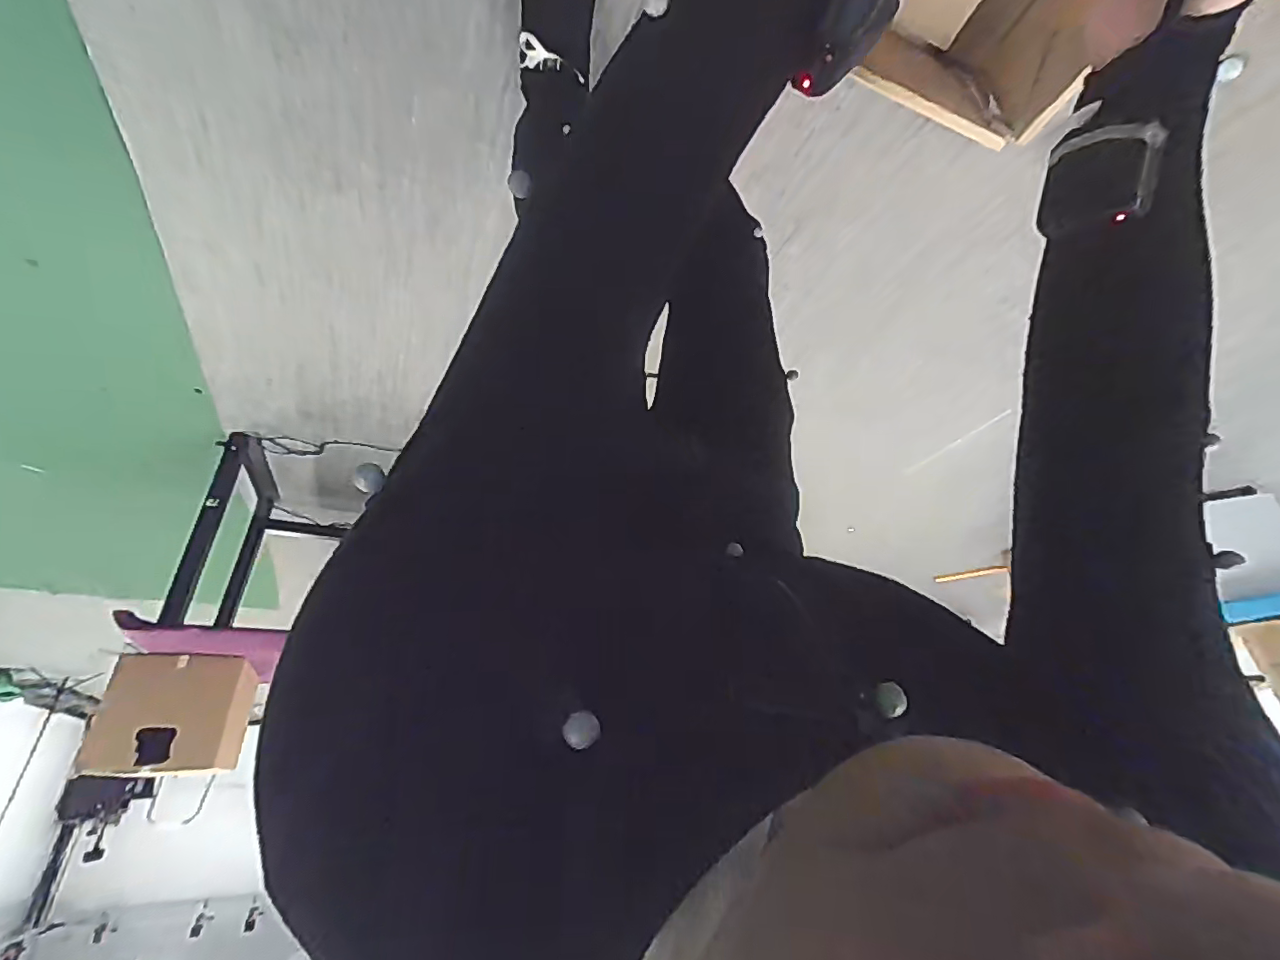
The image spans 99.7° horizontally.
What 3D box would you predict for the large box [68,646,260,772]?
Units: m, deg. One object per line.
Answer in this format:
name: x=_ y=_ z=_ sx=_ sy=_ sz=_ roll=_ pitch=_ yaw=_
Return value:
large box: x=-1.429 y=0.723 z=1.680 sx=0.320 sy=0.320 sz=0.408 roll=10 pitch=148 yaw=-24
